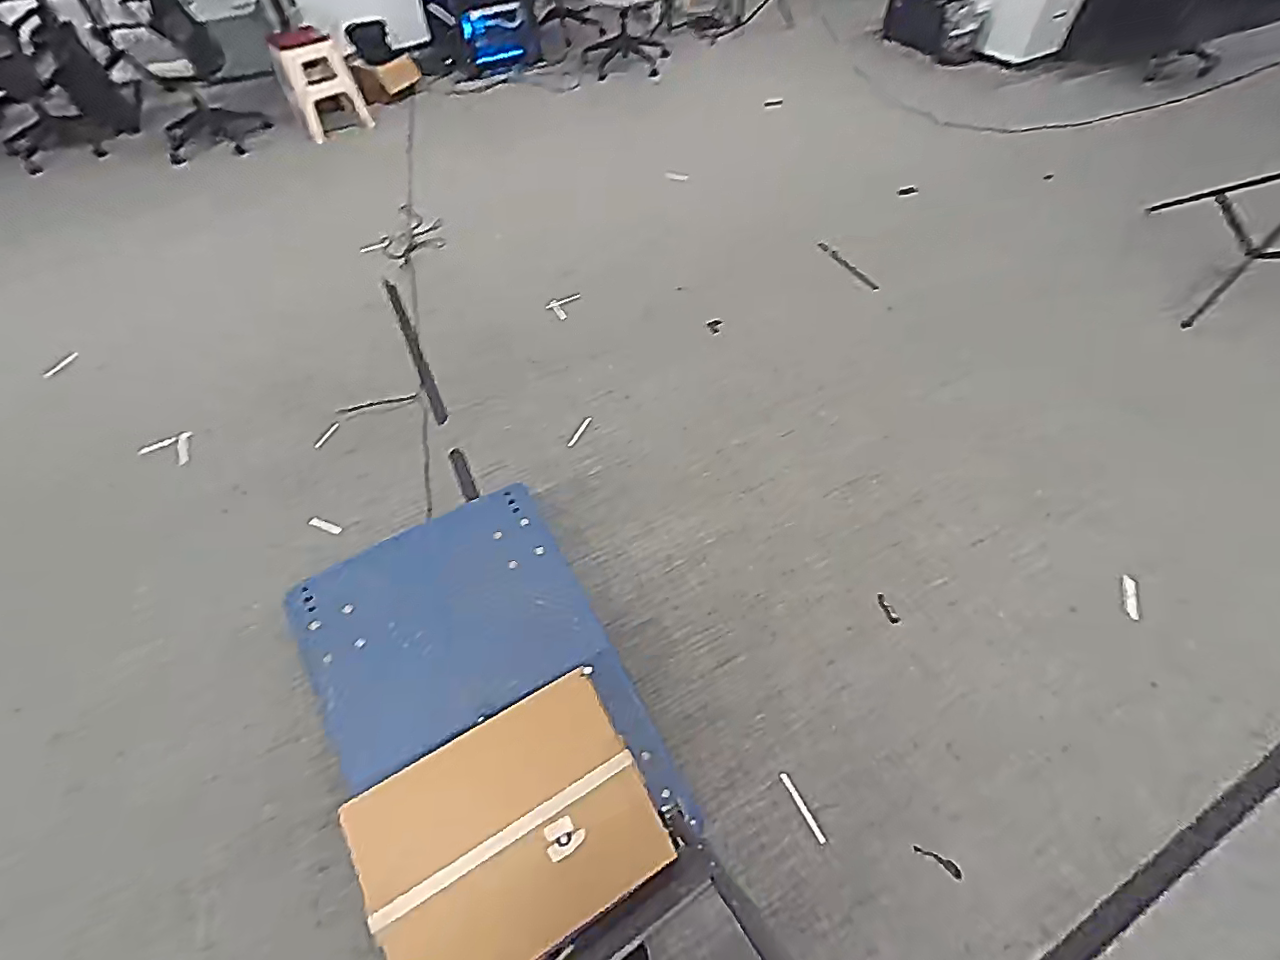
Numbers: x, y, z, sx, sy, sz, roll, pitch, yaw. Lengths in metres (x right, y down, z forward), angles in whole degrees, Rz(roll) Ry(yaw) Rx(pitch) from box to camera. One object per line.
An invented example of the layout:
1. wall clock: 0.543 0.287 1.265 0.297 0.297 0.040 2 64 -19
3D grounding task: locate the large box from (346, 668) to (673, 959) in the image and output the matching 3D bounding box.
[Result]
1. large box: -0.208 0.583 0.946 0.408 0.320 0.320 -27 74 -17
